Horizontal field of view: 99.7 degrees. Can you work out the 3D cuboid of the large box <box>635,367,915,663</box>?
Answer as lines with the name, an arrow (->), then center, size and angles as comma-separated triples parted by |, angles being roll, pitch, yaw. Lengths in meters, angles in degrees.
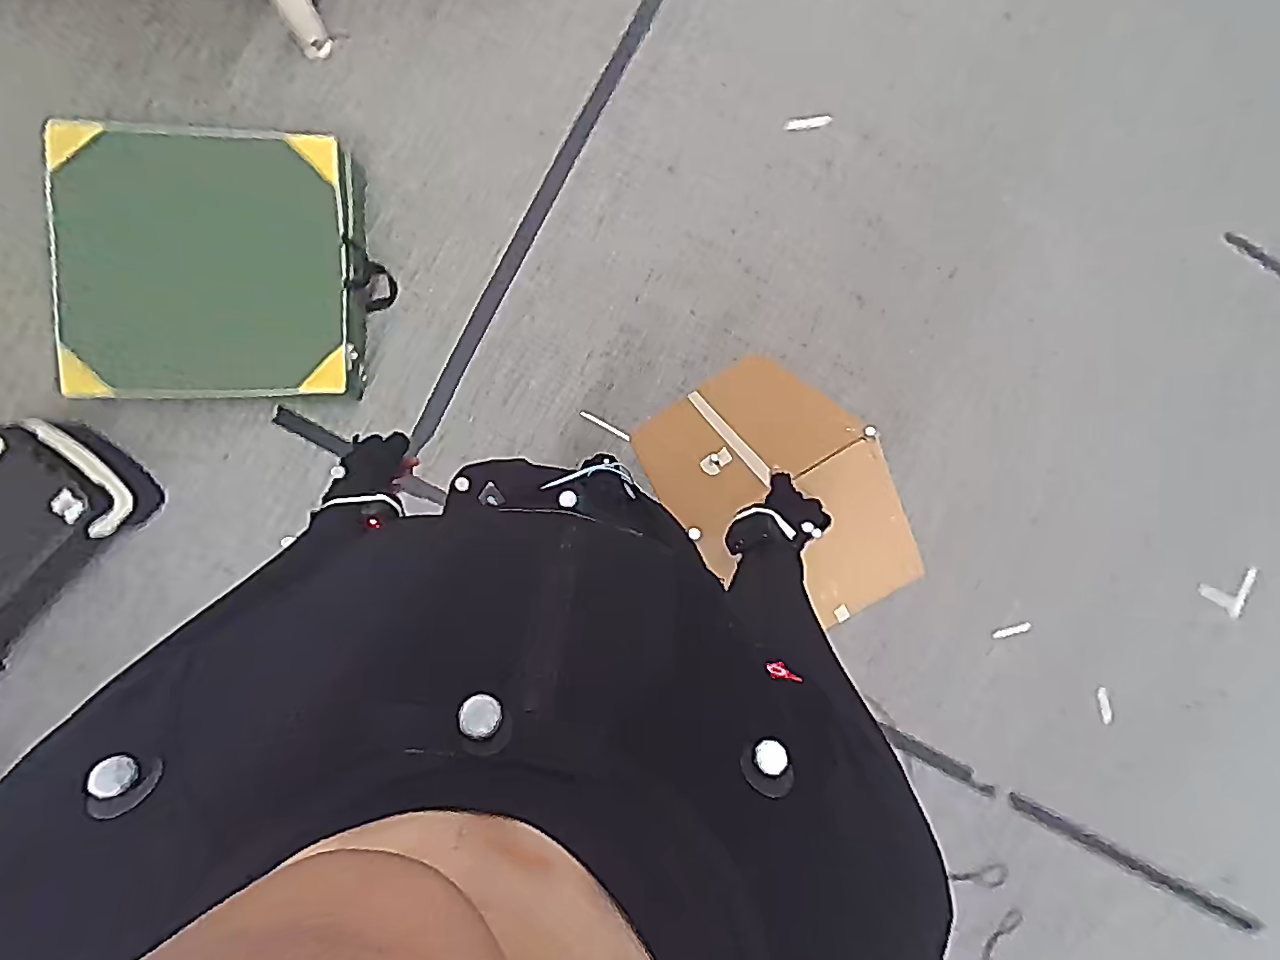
large box -> 0.230, 0.045, 1.011 | 0.320, 0.408, 0.320 | -31, 121, 4
